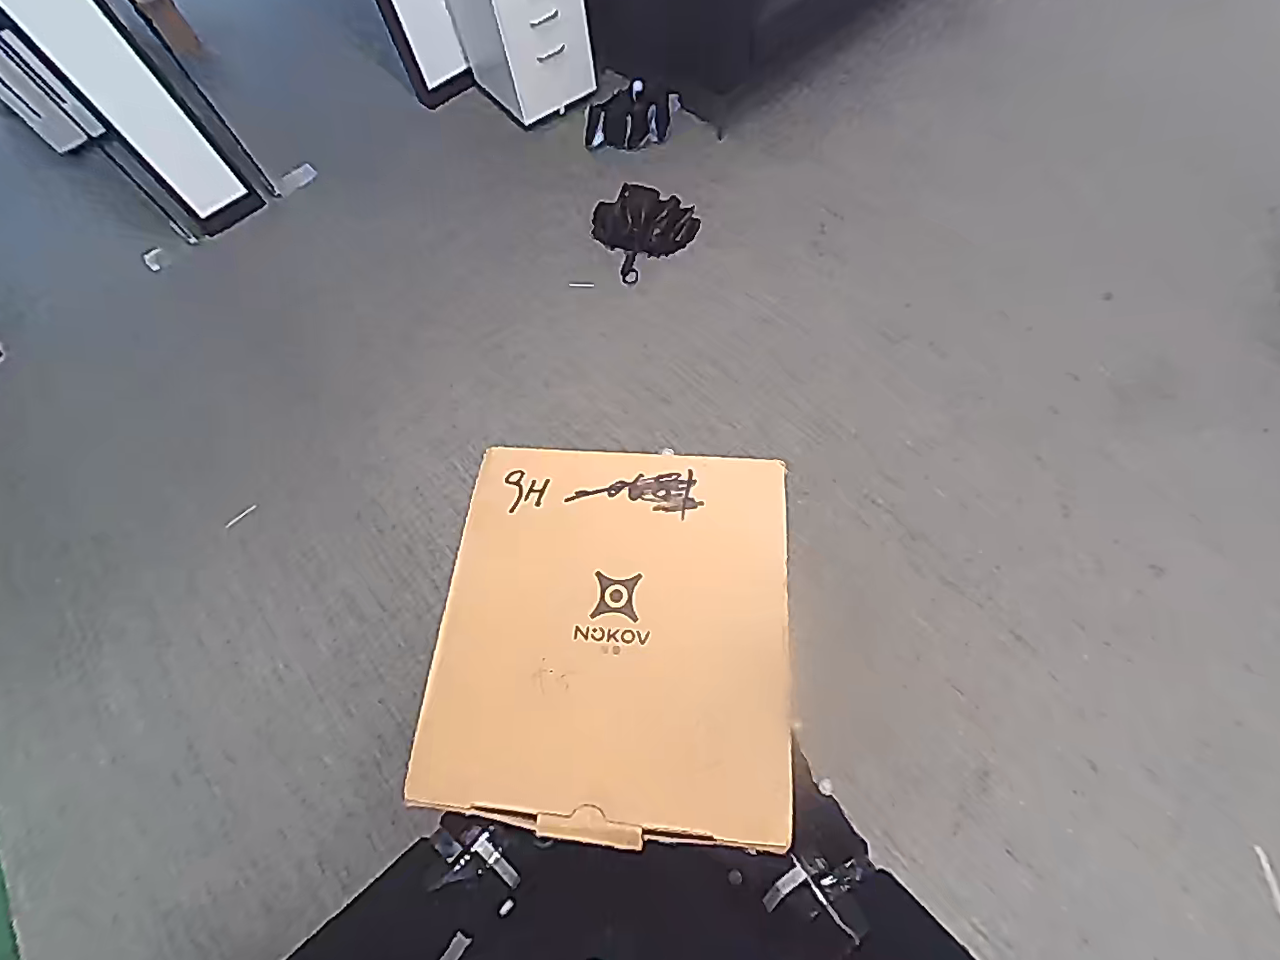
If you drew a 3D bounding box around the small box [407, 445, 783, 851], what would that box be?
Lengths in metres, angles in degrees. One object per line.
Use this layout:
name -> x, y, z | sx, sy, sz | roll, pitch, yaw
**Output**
small box -> -0.007, 0.095, 0.330 | 0.168, 0.176, 0.179 | 3, 67, 6
